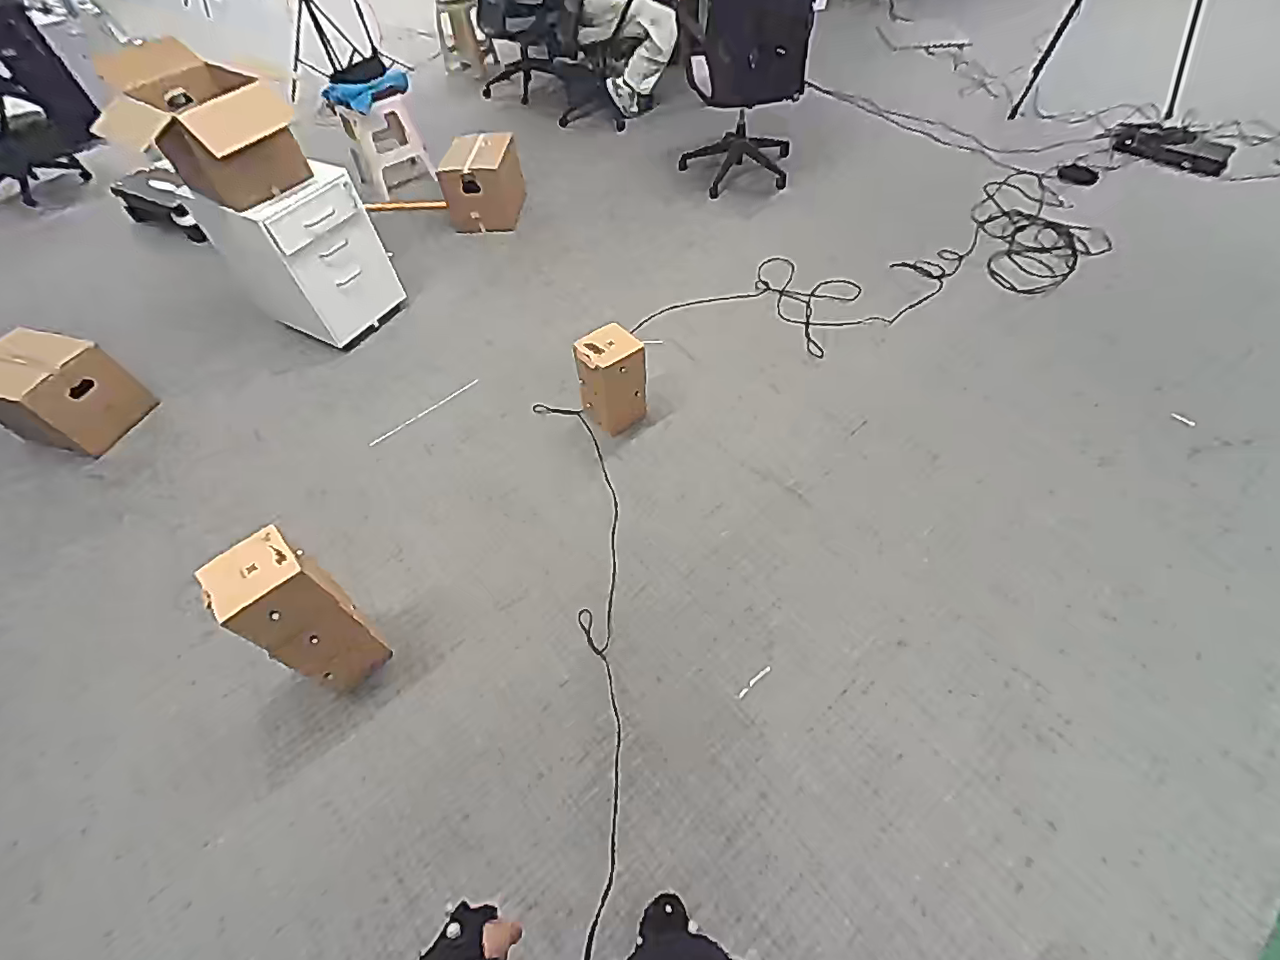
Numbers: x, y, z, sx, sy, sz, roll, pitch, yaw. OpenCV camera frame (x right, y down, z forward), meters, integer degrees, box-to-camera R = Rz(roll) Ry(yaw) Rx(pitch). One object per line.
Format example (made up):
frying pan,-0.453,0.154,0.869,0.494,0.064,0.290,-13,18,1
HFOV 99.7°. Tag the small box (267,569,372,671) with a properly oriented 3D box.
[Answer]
small box,-0.809,0.341,1.342,0.179,0.176,0.168,-38,60,-22

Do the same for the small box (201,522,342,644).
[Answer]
small box,-0.820,0.237,1.216,0.179,0.176,0.168,-39,60,-21

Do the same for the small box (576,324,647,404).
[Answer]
small box,-0.089,-0.384,1.808,0.179,0.176,0.168,-34,58,-21

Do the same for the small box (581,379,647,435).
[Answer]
small box,-0.087,-0.293,1.945,0.179,0.176,0.168,-35,58,-20
